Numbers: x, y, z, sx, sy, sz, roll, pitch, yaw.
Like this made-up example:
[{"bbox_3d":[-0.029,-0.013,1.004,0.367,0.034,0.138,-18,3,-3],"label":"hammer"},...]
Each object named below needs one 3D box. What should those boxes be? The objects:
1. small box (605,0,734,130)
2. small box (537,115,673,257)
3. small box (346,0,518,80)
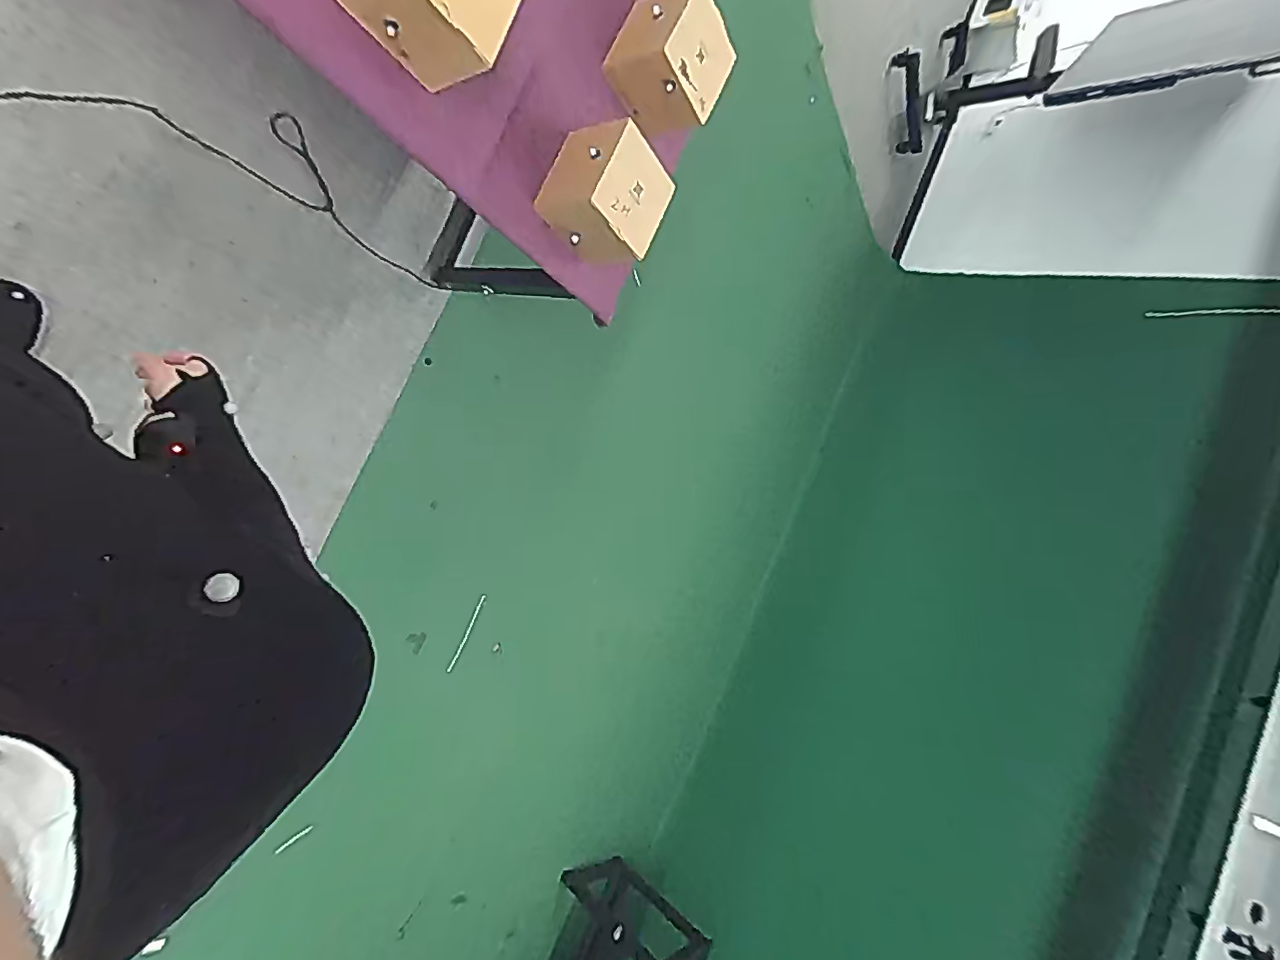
[{"bbox_3d":[0.057,-0.847,1.086,0.168,0.176,0.179,33,79,-51],"label":"small box"},{"bbox_3d":[-0.070,-0.558,1.048,0.168,0.176,0.179,33,79,-50],"label":"small box"},{"bbox_3d":[-0.281,-0.700,0.738,0.168,0.176,0.179,26,84,-52],"label":"small box"}]
